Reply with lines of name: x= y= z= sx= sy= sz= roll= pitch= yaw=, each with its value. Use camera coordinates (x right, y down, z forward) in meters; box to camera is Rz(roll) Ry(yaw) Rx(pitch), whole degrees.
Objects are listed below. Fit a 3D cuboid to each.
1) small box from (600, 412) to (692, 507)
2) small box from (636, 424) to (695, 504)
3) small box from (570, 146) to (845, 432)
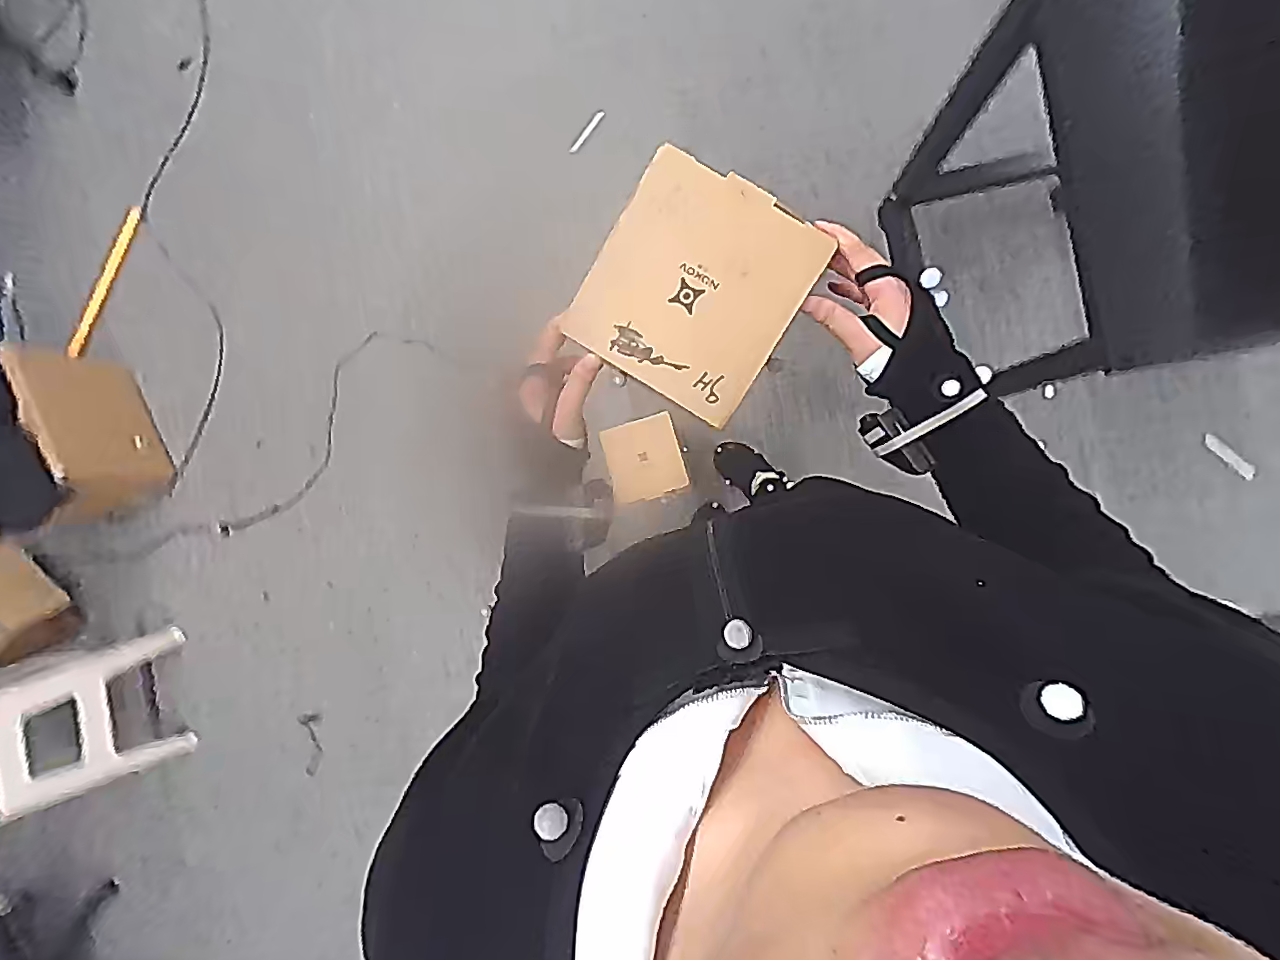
small box: x=0.021 y=-0.044 z=1.276 sx=0.168 sy=0.176 sz=0.179 roll=-18 pitch=86 yaw=7
small box: x=0.046 y=-0.038 z=1.436 sx=0.168 sy=0.176 sz=0.179 roll=-14 pitch=88 yaw=8
small box: x=0.061 y=-0.162 z=0.521 sx=0.168 sy=0.176 sz=0.179 roll=33 pitch=97 yaw=5
